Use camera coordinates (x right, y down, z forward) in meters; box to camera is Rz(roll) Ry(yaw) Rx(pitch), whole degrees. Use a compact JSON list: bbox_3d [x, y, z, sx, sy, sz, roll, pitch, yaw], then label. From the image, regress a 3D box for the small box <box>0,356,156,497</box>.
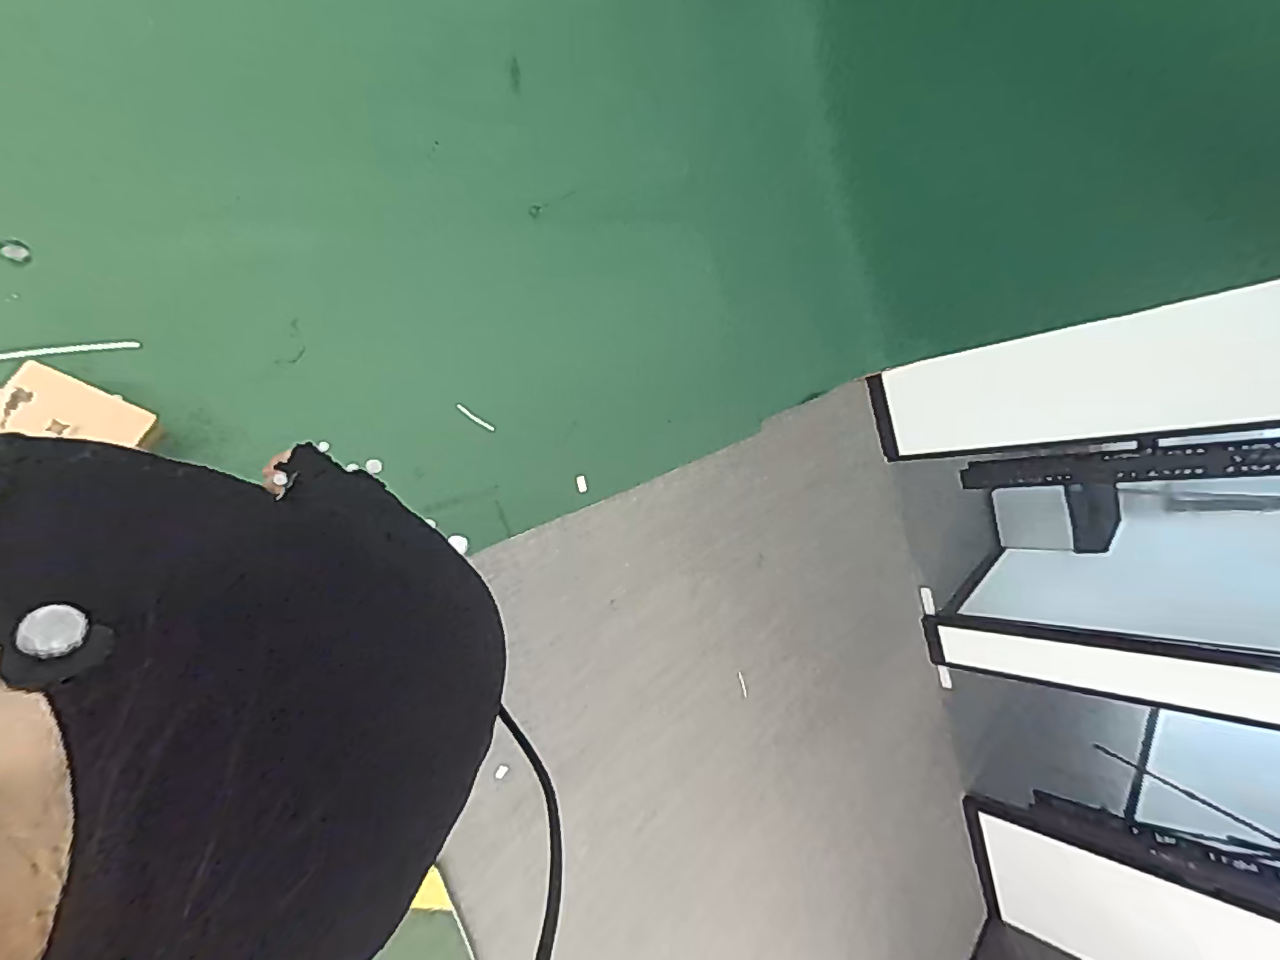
[{"bbox_3d":[-0.969,-0.081,0.917,0.179,0.176,0.168,34,66,-33],"label":"small box"}]
